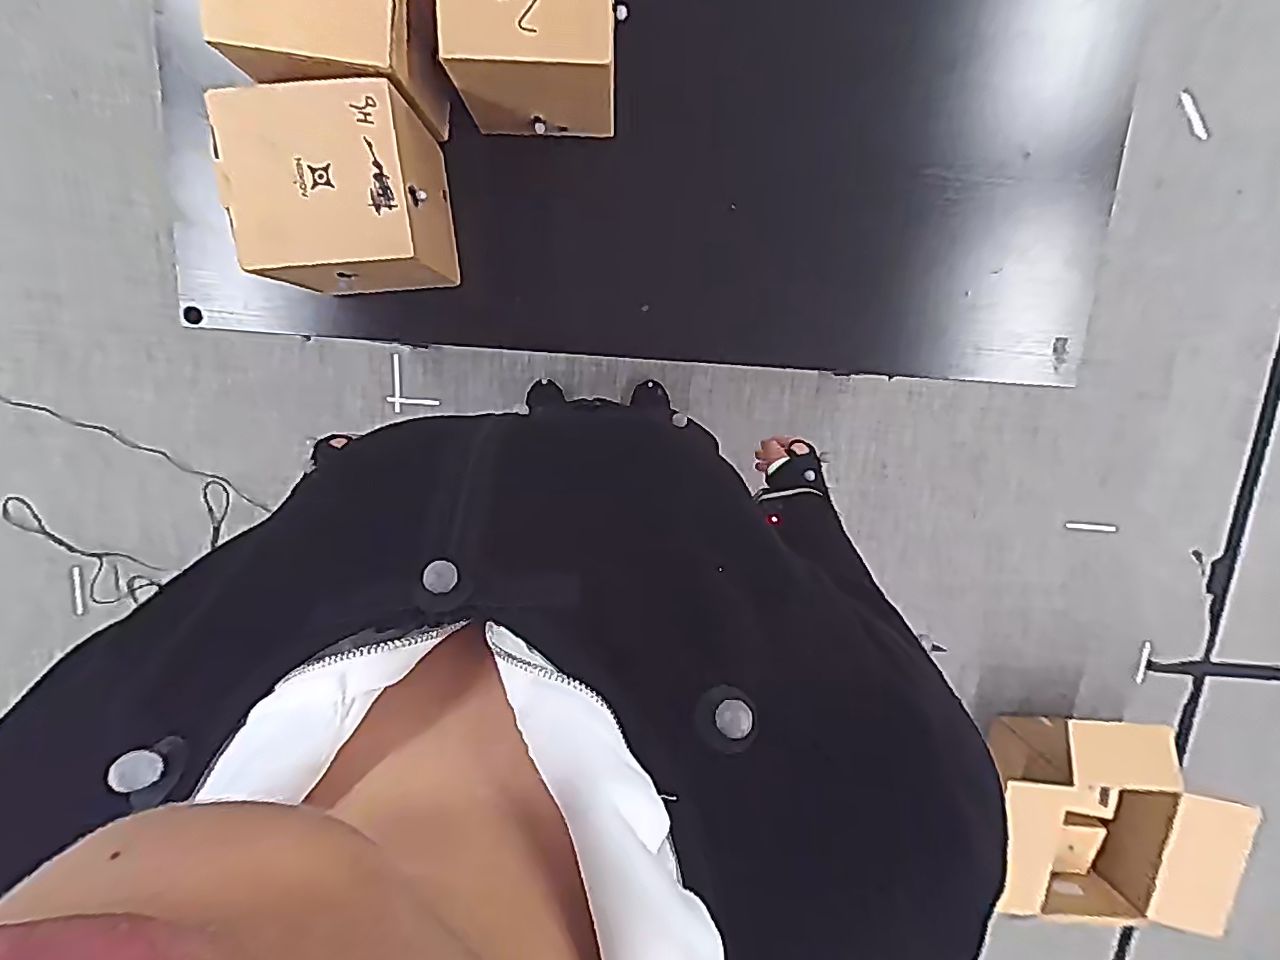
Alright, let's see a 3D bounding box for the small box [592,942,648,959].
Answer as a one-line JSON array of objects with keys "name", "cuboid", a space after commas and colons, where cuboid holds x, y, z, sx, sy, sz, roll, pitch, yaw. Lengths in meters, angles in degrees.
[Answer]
[{"name": "small box", "cuboid": [-0.068, 1.584, 1.675, 0.179, 0.176, 0.168, 8, 98, -2]}]
